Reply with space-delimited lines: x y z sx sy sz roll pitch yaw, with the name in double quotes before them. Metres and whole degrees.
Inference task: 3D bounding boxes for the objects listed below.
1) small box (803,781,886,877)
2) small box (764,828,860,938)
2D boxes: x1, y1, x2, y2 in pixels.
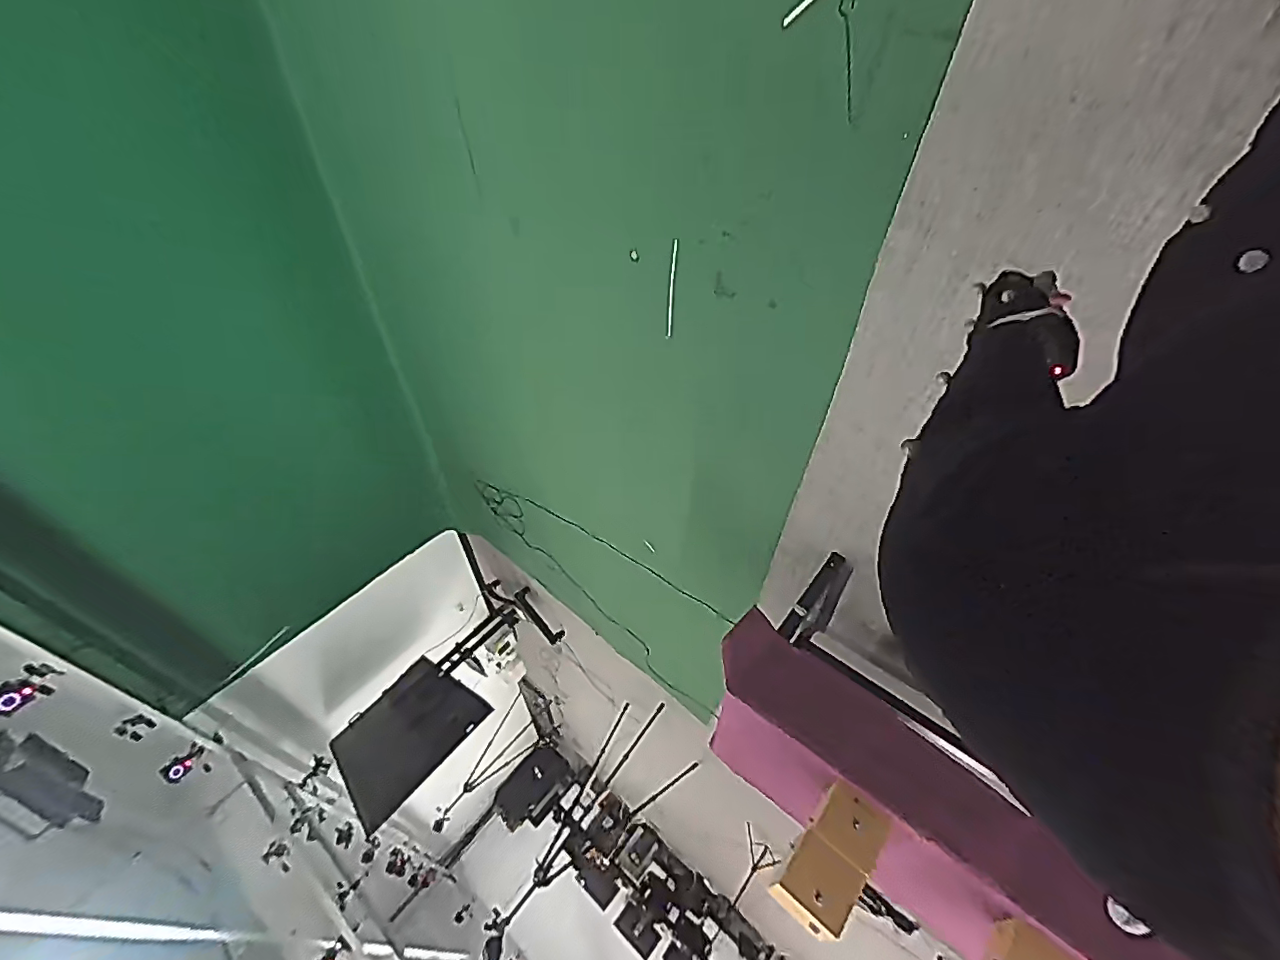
"small box" 0.581 1.006 1.555 0.168 0.176 0.179 33 145 25
"small box" 0.470 1.096 1.474 0.179 0.176 0.168 33 145 25
